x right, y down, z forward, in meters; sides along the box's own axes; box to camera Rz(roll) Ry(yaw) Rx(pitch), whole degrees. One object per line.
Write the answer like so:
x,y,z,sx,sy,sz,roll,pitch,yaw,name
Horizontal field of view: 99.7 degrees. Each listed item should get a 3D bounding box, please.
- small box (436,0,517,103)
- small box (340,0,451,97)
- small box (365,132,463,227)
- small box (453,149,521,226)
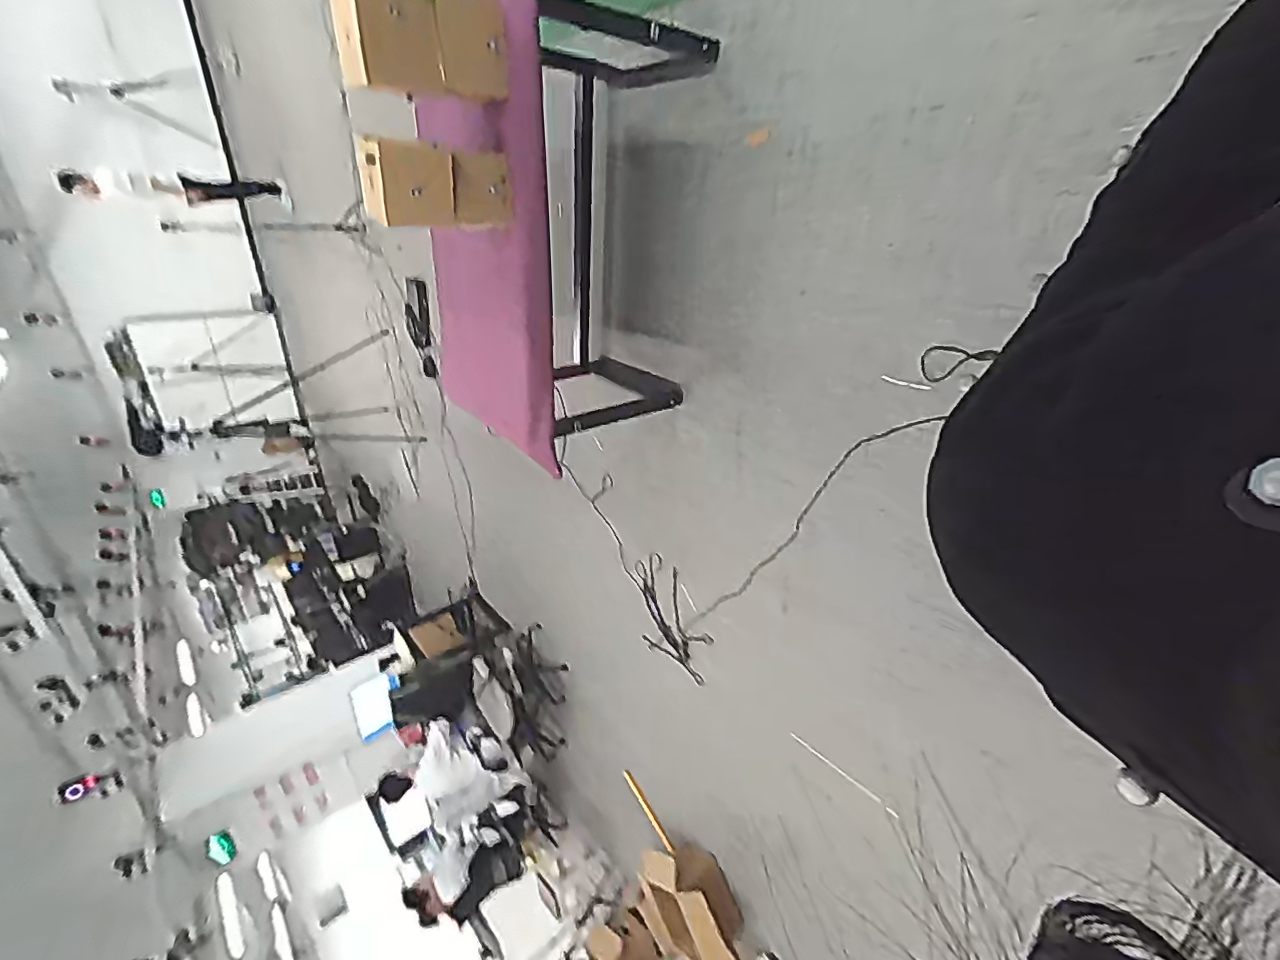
-0.409,-1.025,1.288,0.168,0.176,0.179,27,127,44,small box
-0.539,-0.972,1.203,0.168,0.176,0.179,33,131,40,small box
-0.548,-0.733,1.325,0.168,0.176,0.179,40,135,37,small box
-0.437,-0.772,1.443,0.179,0.176,0.168,24,125,45,small box
